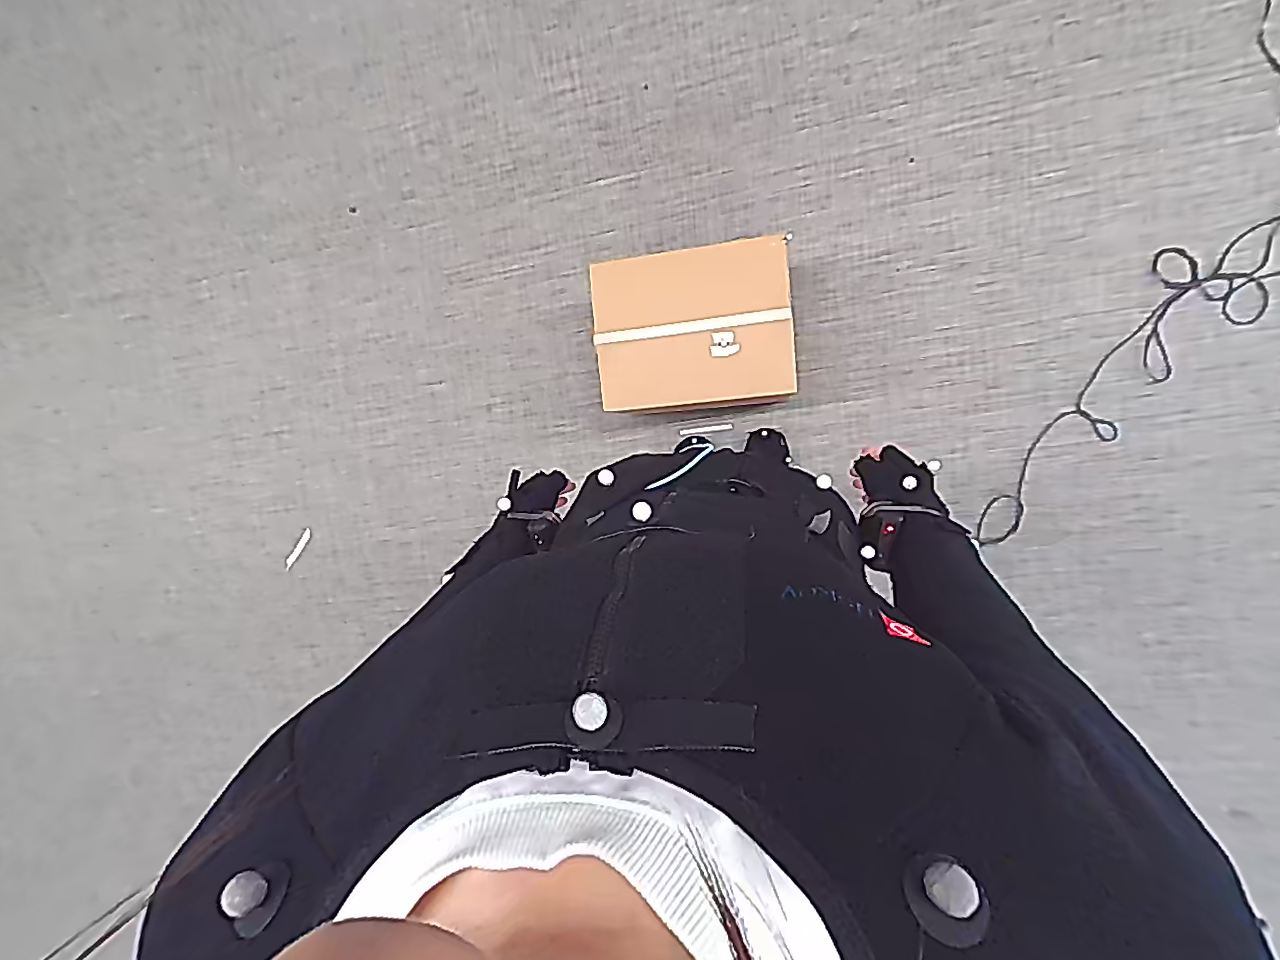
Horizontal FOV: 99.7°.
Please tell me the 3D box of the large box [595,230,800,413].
[{"bbox_3d":[0.138,-0.336,1.256,0.408,0.320,0.320,-5,95,11],"label":"large box"}]
